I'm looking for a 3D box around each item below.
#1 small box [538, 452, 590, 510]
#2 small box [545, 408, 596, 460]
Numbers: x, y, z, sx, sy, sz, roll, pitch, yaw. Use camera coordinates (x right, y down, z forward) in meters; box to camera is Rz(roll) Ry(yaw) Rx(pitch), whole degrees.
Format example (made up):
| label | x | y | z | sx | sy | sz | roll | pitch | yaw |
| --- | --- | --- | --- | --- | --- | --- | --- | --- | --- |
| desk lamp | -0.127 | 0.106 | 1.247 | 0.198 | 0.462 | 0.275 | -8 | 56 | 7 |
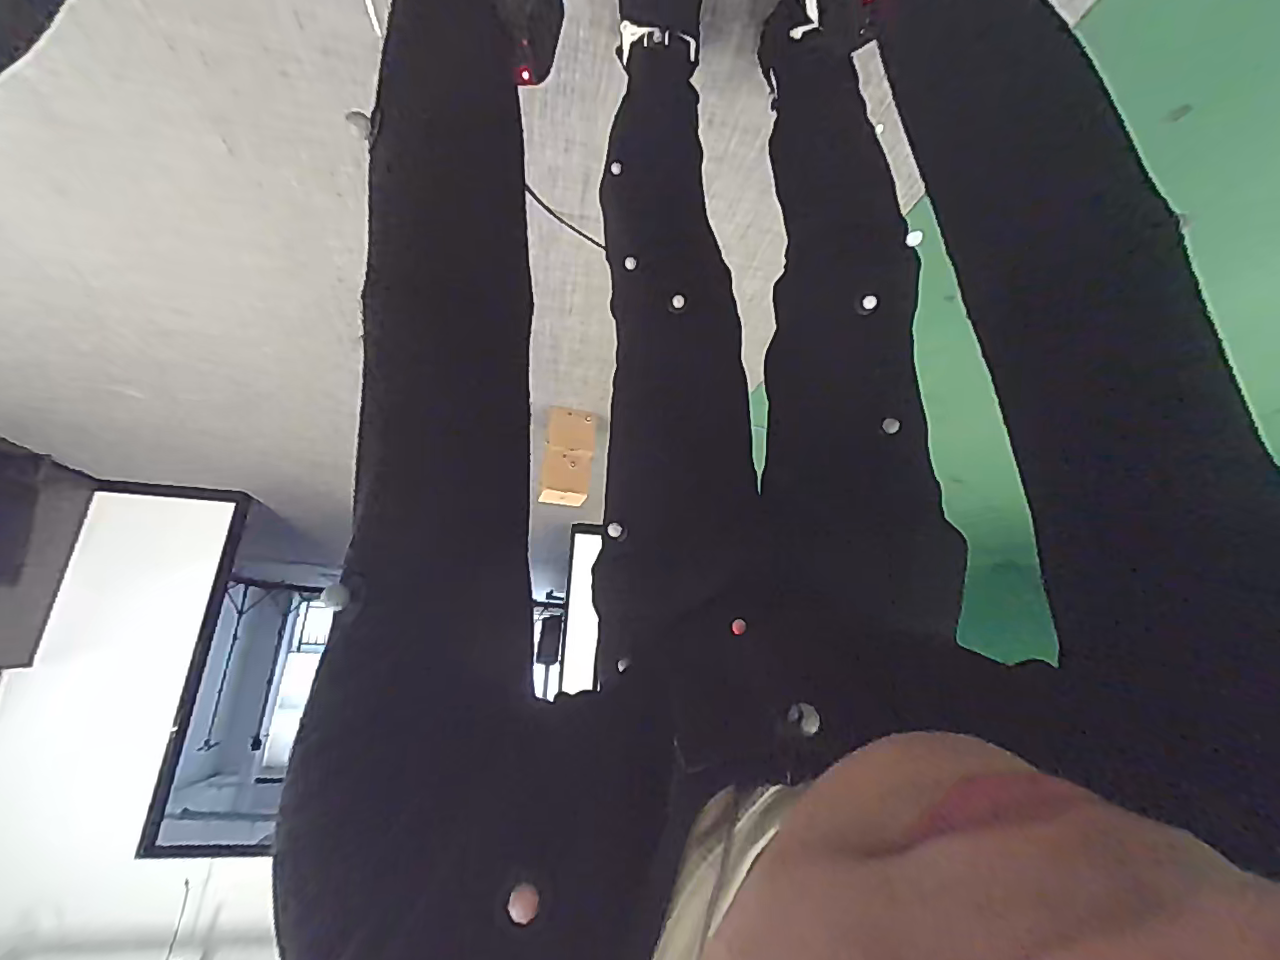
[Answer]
| label | x | y | z | sx | sy | sz | roll | pitch | yaw |
| --- | --- | --- | --- | --- | --- | --- | --- | --- | --- |
| small box | -0.291 | 0.006 | 2.081 | 0.168 | 0.176 | 0.179 | 9 | 160 | -15 |
| small box | -0.273 | -0.167 | 2.125 | 0.168 | 0.176 | 0.179 | 9 | 161 | -15 |
